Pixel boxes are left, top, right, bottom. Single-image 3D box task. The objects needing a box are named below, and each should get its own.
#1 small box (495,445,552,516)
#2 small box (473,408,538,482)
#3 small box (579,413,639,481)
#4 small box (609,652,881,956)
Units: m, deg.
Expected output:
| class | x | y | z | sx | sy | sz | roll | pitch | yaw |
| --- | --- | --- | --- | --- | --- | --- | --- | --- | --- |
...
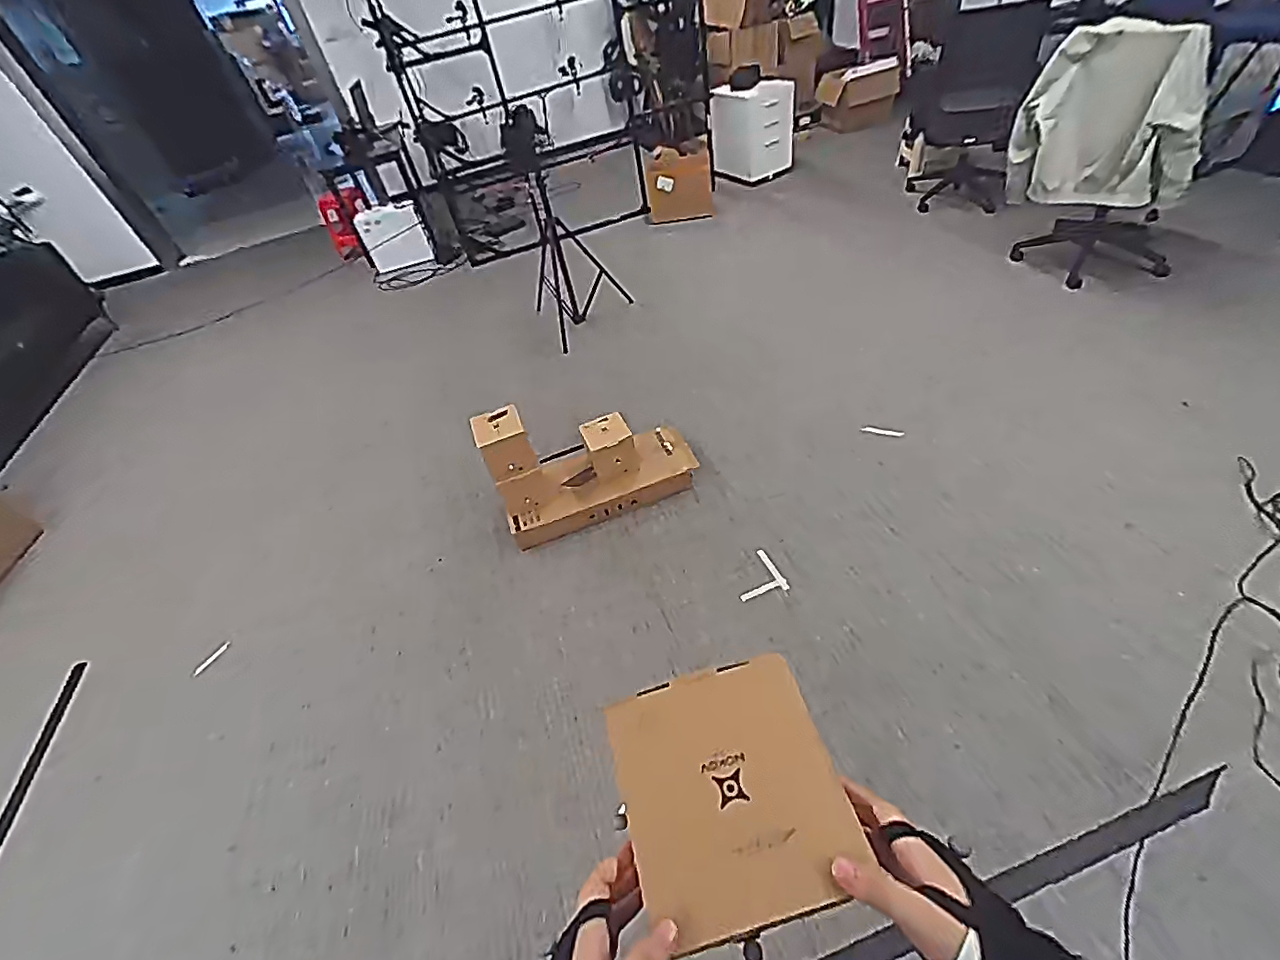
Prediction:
| class | x | y | z | sx | sy | sz | roll | pitch | yaw |
| --- | --- | --- | --- | --- | --- | --- | --- | --- | --- |
| small box | -0.439 | 0.003 | 2.012 | 0.168 | 0.176 | 0.179 | -21 | 44 | -8 |
| small box | -0.474 | -0.122 | 1.910 | 0.168 | 0.176 | 0.179 | -22 | 44 | -9 |
| small box | -0.115 | -0.117 | 2.055 | 0.168 | 0.176 | 0.179 | -22 | 45 | -9 |
| small box | 0.076 | 0.286 | 0.479 | 0.168 | 0.176 | 0.179 | -14 | 48 | -5 |
